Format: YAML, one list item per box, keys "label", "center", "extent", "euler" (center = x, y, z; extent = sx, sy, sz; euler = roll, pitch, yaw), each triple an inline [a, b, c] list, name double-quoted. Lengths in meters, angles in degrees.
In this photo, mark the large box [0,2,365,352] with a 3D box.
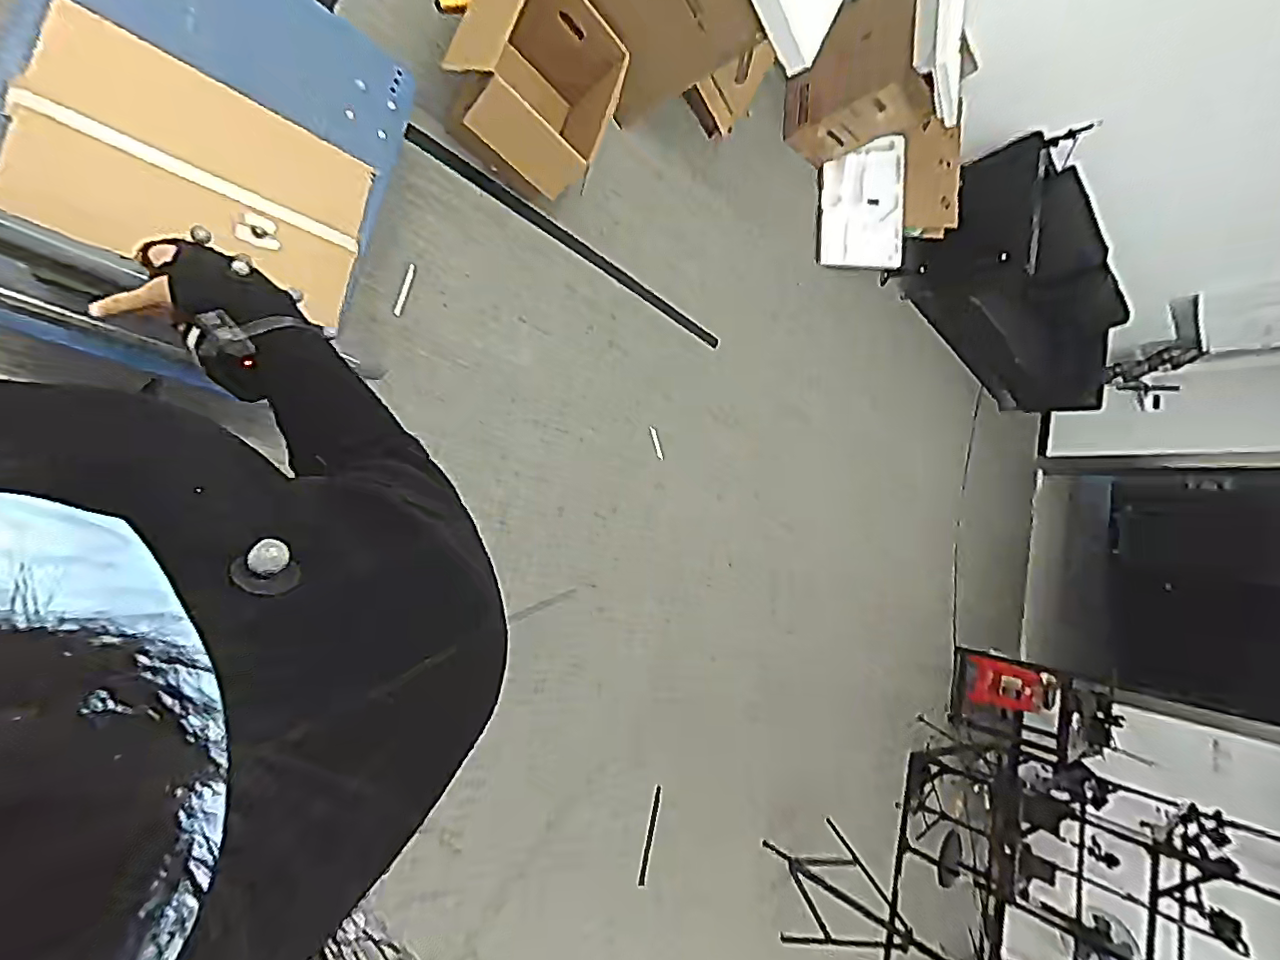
- label: "large box"
  center: [-0.765, -0.457, 0.938]
  extent: [0.408, 0.320, 0.320]
  euler: [16, 81, -42]
